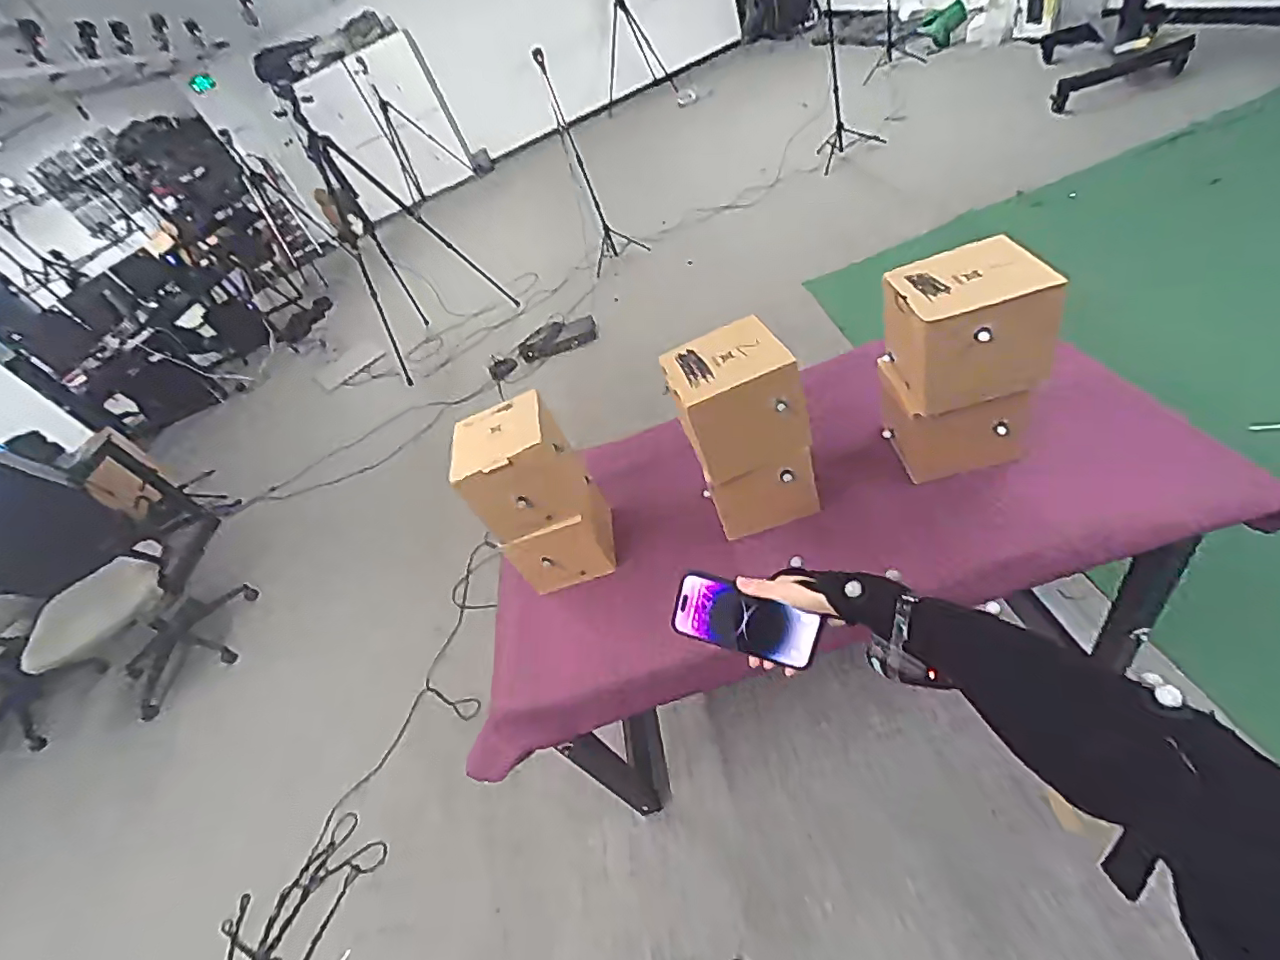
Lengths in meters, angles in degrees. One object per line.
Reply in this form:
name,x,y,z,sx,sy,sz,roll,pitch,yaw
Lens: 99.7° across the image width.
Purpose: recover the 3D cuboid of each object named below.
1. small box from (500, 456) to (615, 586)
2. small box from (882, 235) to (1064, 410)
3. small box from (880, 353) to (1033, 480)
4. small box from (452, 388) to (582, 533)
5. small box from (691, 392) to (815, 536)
small box,-0.156,0.088,1.067,0.168,0.176,0.179,-19,42,9
small box,0.483,-0.229,0.809,0.179,0.176,0.168,-15,42,13
small box,0.529,-0.126,0.929,0.179,0.176,0.168,-15,42,14
small box,-0.214,-0.027,0.965,0.168,0.176,0.179,-22,42,5
small box,0.210,-0.026,0.991,0.179,0.176,0.168,-19,42,9
